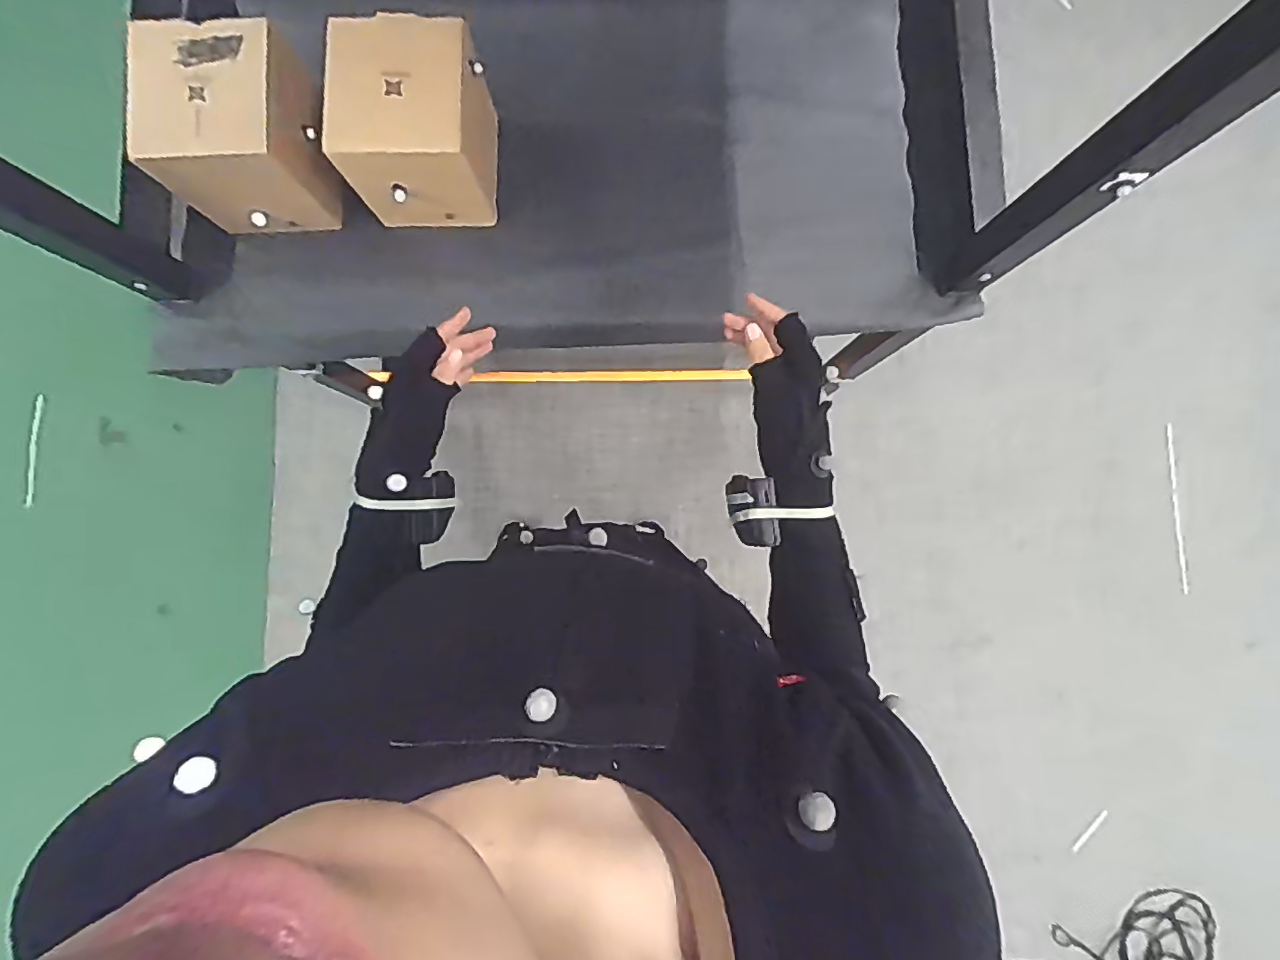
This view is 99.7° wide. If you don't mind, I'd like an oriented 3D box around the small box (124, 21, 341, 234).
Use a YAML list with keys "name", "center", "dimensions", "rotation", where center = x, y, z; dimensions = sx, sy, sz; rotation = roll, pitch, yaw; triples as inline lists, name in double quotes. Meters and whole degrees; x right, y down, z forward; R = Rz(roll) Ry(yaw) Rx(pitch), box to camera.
- name: "small box"
  center: [-0.520, -0.454, 0.717]
  dimensions: [0.168, 0.176, 0.179]
  rotation: [-2, 85, -1]

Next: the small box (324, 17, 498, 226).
- name: "small box"
  center: [-0.292, -0.463, 0.724]
  dimensions: [0.168, 0.176, 0.179]
  rotation: [-1, 84, -1]
